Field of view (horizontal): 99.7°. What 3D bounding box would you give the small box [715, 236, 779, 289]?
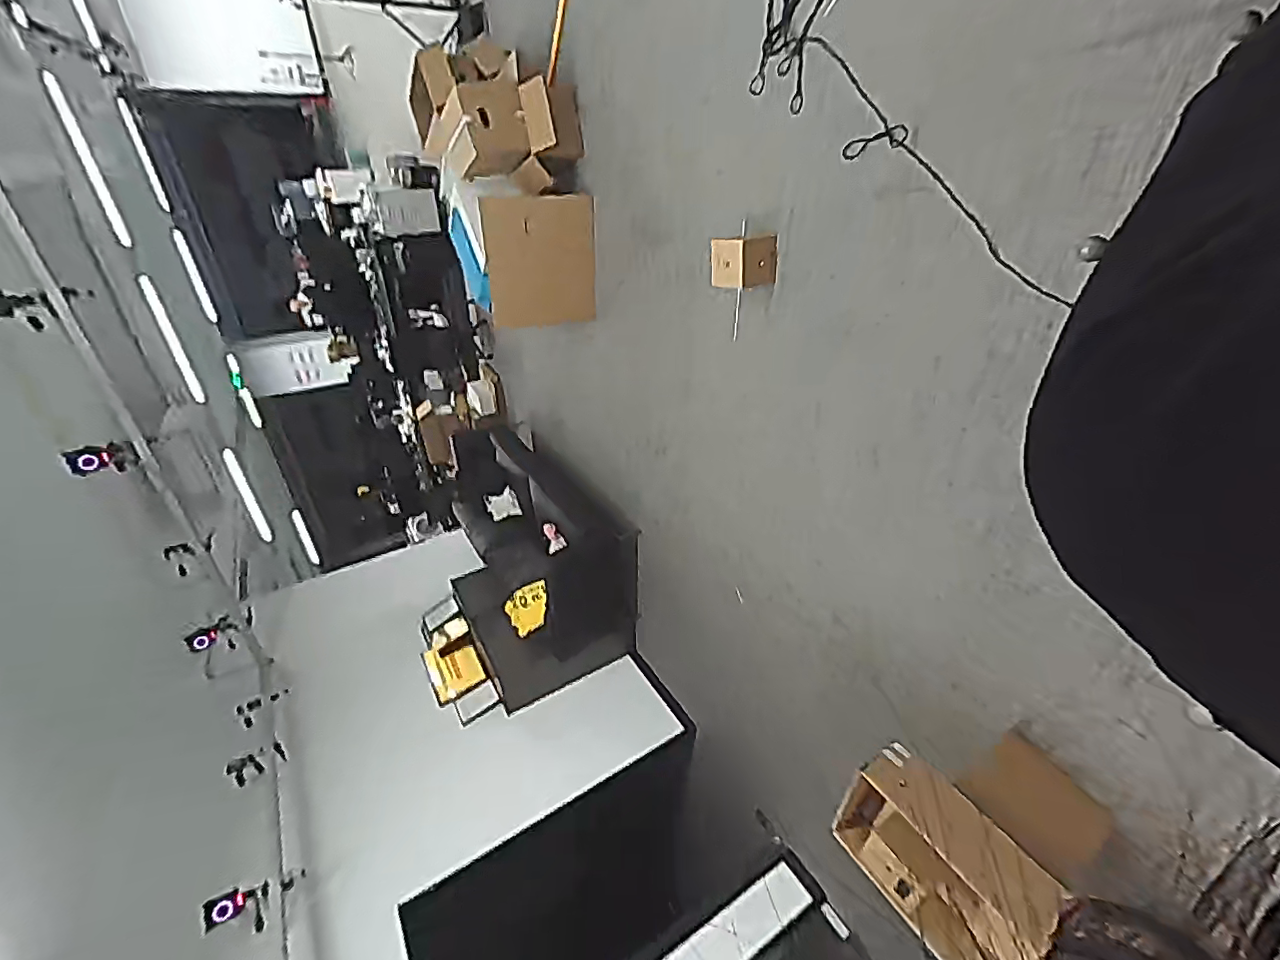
[{"bbox_3d":[0.398,-0.813,2.011,0.179,0.176,0.168,34,136,51],"label":"small box"}]
